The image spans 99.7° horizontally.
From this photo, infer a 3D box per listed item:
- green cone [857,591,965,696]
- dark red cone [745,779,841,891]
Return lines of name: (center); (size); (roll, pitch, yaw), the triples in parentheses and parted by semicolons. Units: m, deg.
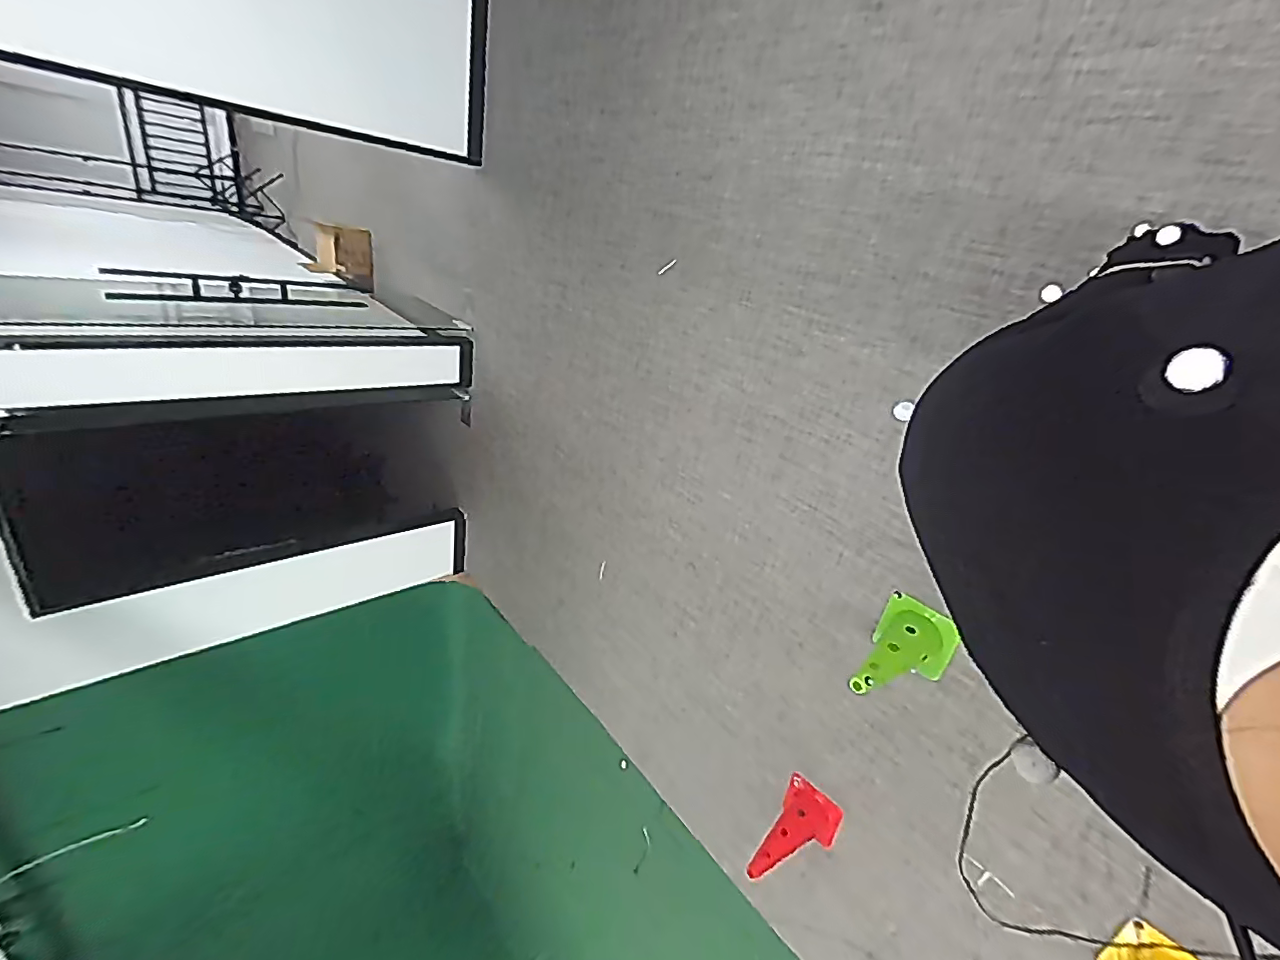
green cone: (0.666, 0.471, 1.425); (0.202, 0.368, 0.200); (31, 122, 38)
dark red cone: (0.479, 1.210, 1.795); (0.202, 0.394, 0.201); (28, 121, 41)
